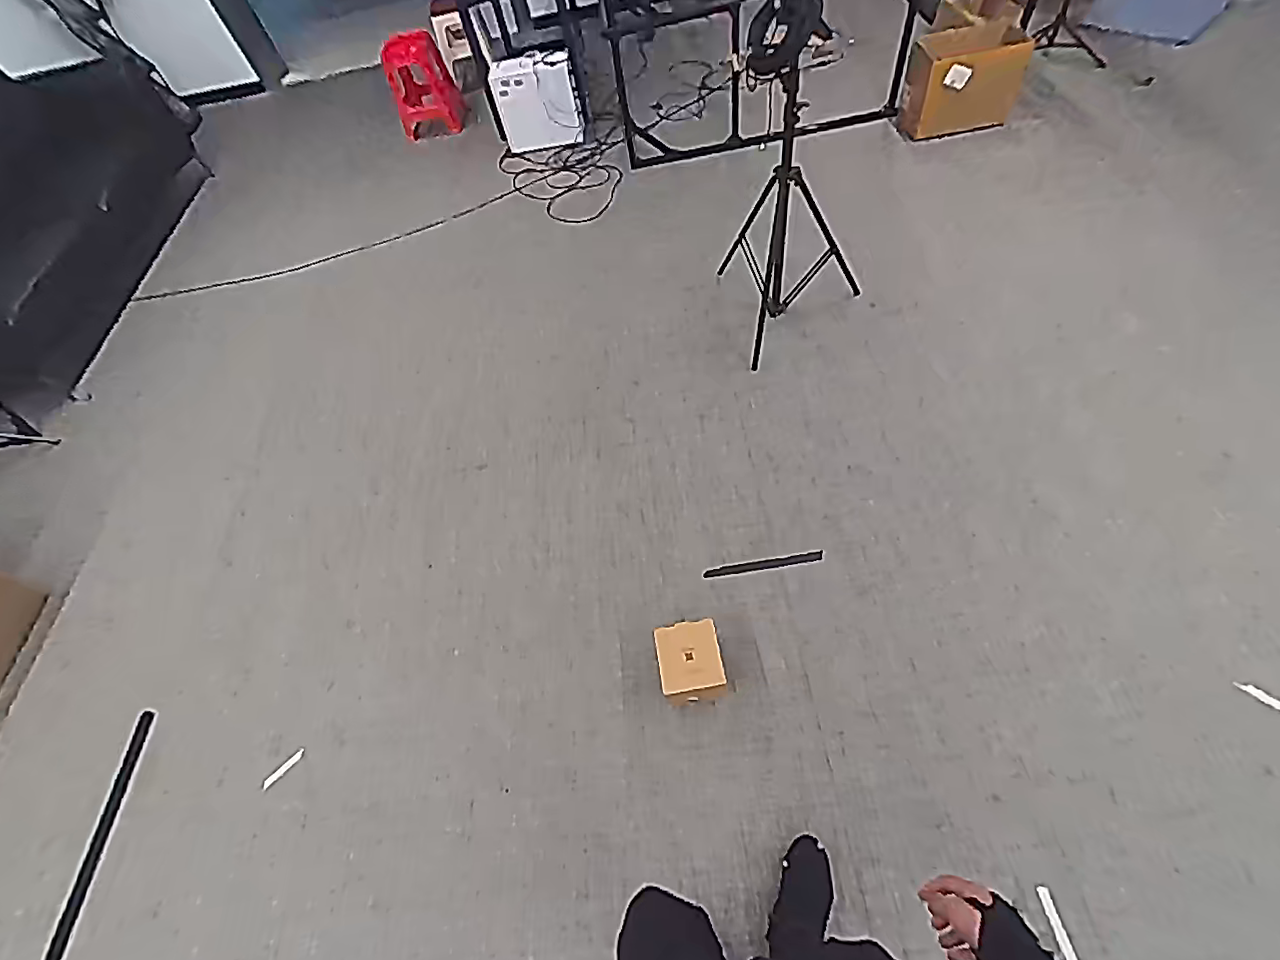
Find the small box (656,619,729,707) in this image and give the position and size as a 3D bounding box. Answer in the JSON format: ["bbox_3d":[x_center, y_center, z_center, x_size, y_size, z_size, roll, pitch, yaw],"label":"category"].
[{"bbox_3d":[0.144,0.502,1.477,0.168,0.176,0.179,-12,57,4],"label":"small box"}]
